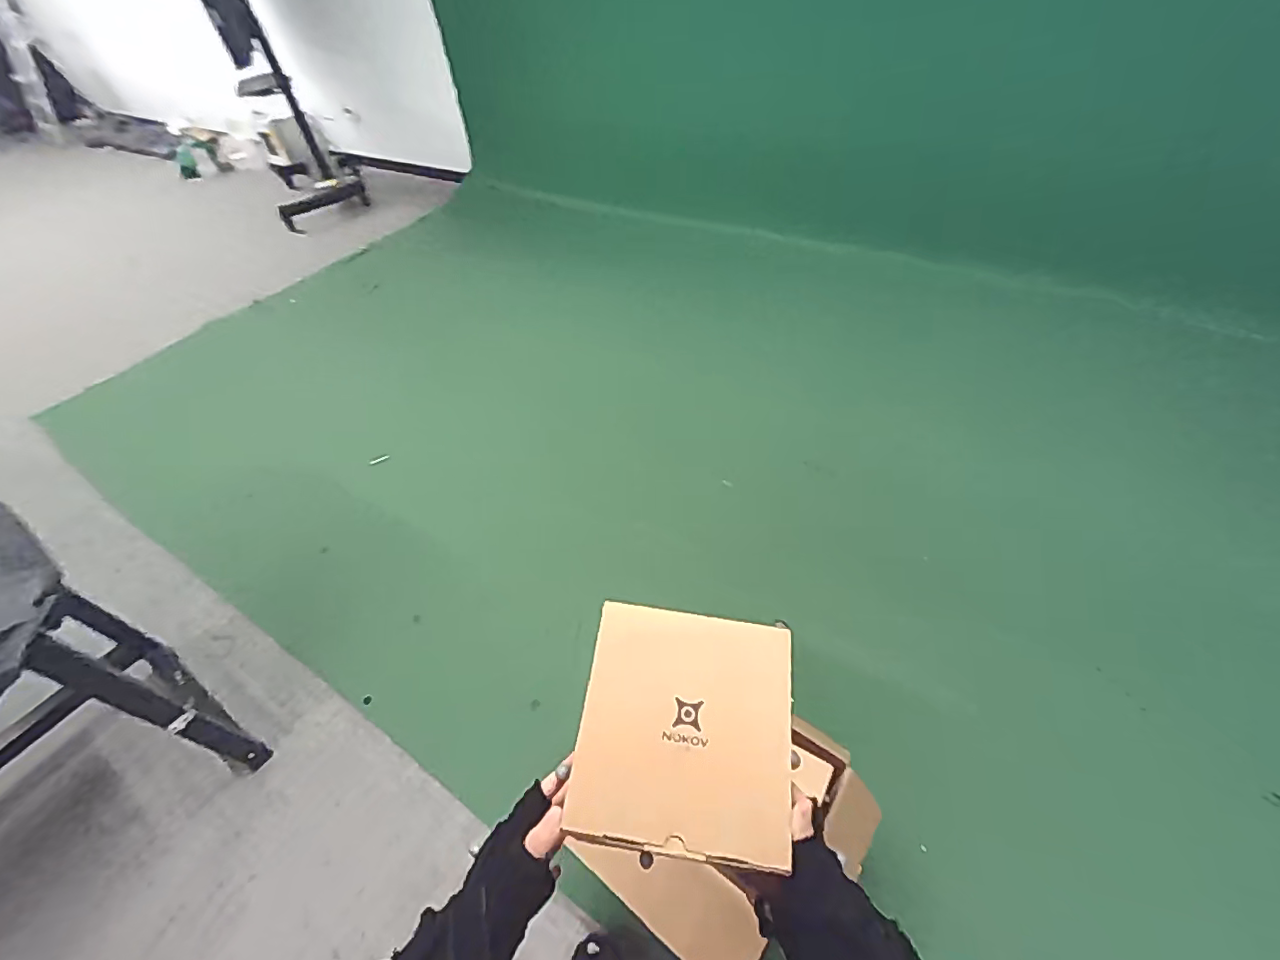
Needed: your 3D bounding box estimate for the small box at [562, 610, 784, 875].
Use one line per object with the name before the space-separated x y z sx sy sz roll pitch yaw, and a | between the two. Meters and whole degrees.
small box | 0.030 0.243 0.502 0.168 0.176 0.179 8 57 3
